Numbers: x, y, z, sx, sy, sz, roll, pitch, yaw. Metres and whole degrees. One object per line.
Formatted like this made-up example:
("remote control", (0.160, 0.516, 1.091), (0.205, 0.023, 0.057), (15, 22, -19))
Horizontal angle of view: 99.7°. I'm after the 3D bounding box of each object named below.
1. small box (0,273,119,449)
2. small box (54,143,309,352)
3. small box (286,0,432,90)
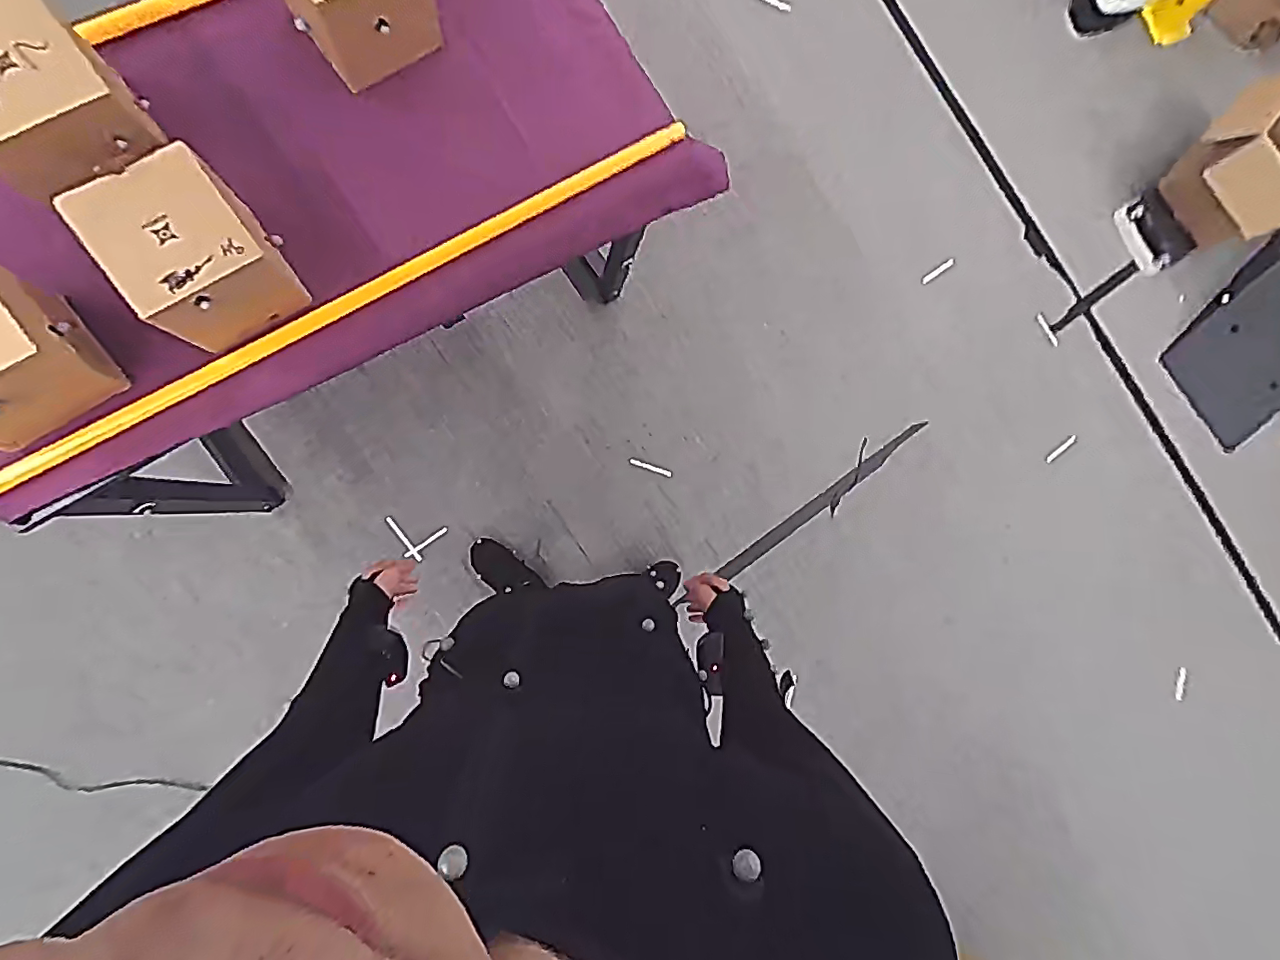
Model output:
("small box", (-0.842, -0.158, 0.697), (0.179, 0.176, 0.168), (-36, 93, -11))
("small box", (-0.611, -0.307, 0.750), (0.168, 0.176, 0.179), (-35, 93, -10))
("small box", (-0.433, -0.744, 0.805), (0.179, 0.176, 0.168), (-38, 95, -9))
